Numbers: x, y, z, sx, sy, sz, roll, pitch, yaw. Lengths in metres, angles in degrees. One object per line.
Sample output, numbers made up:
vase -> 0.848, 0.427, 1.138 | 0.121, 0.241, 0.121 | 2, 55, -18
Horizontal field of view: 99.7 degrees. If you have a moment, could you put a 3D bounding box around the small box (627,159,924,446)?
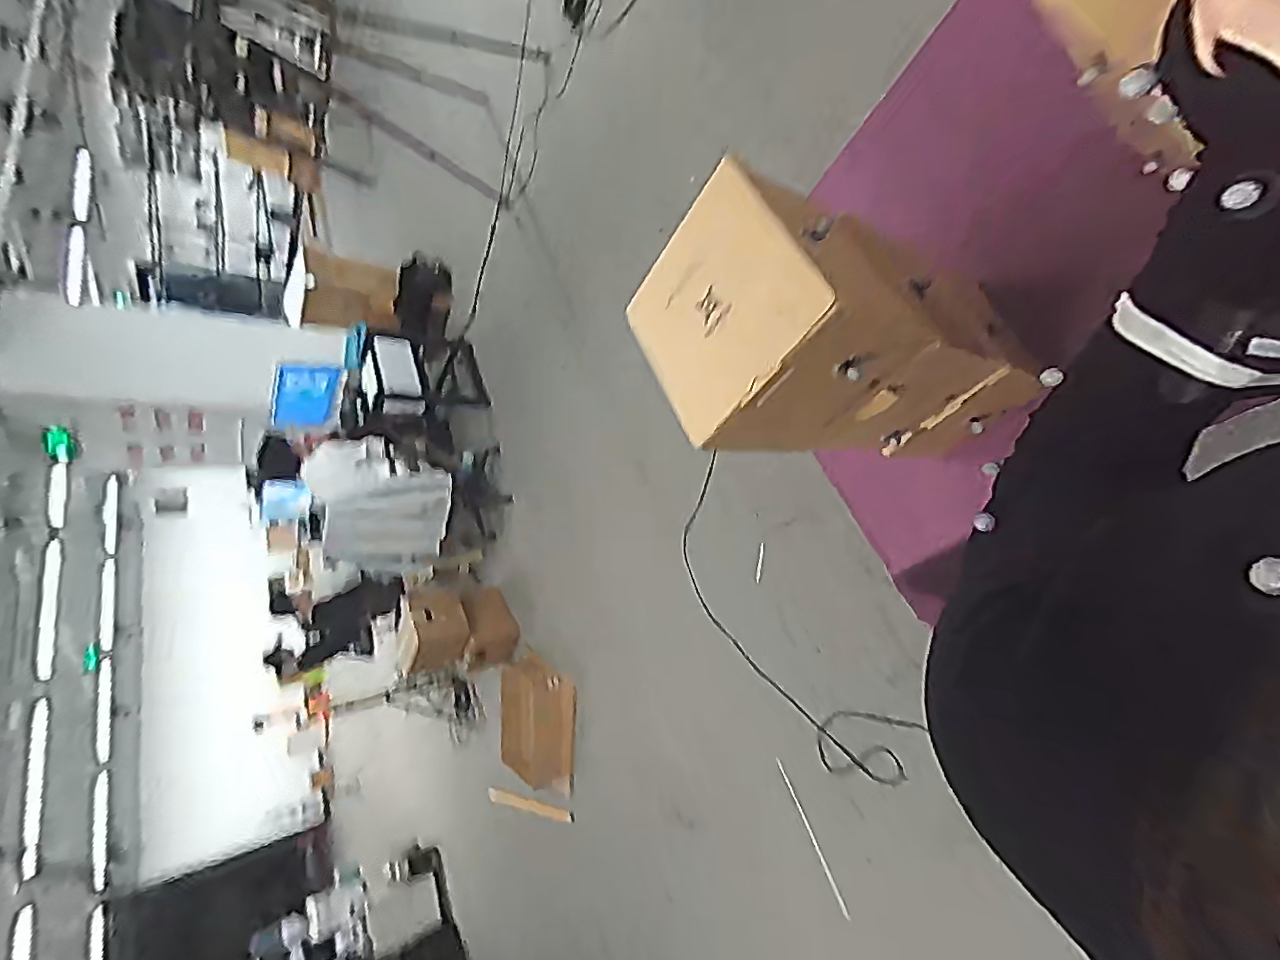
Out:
small box -> 0.122, -0.149, 0.503 | 0.168, 0.176, 0.179 | -46, 57, 40

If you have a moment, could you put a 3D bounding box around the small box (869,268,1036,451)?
small box -> 0.373, -0.156, 0.713 | 0.168, 0.176, 0.179 | -45, 60, 41

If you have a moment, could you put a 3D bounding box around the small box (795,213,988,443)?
small box -> 0.245, -0.157, 0.609 | 0.168, 0.176, 0.179 | -44, 58, 42

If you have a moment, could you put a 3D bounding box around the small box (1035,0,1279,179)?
small box -> 0.423, -0.354, 0.384 | 0.168, 0.176, 0.179 | -41, 63, 44
